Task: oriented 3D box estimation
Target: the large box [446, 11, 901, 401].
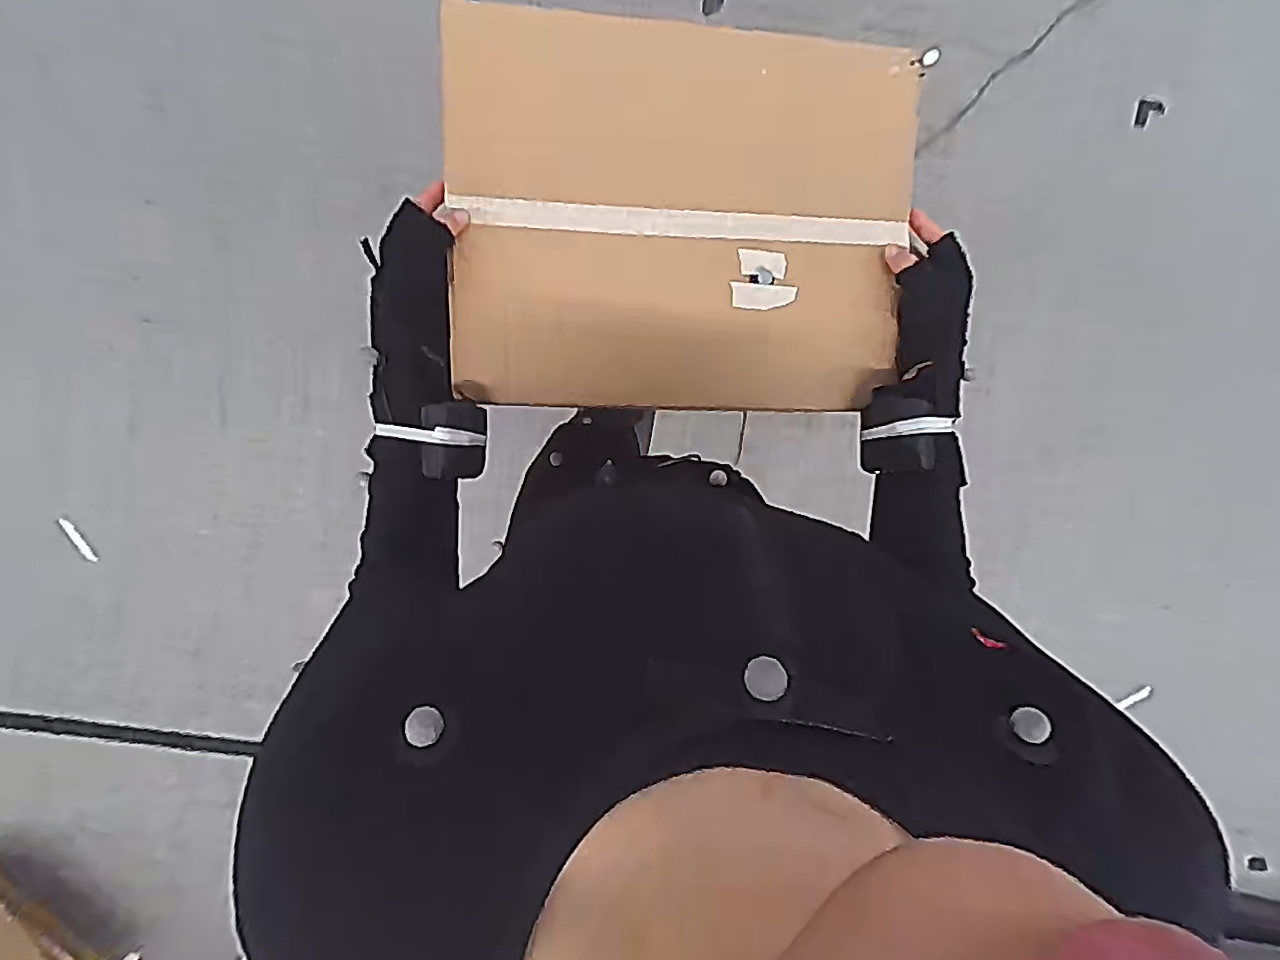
[{"bbox_3d":[0.019,-0.252,0.626,0.408,0.320,0.320,0,98,-8],"label":"large box"}]
